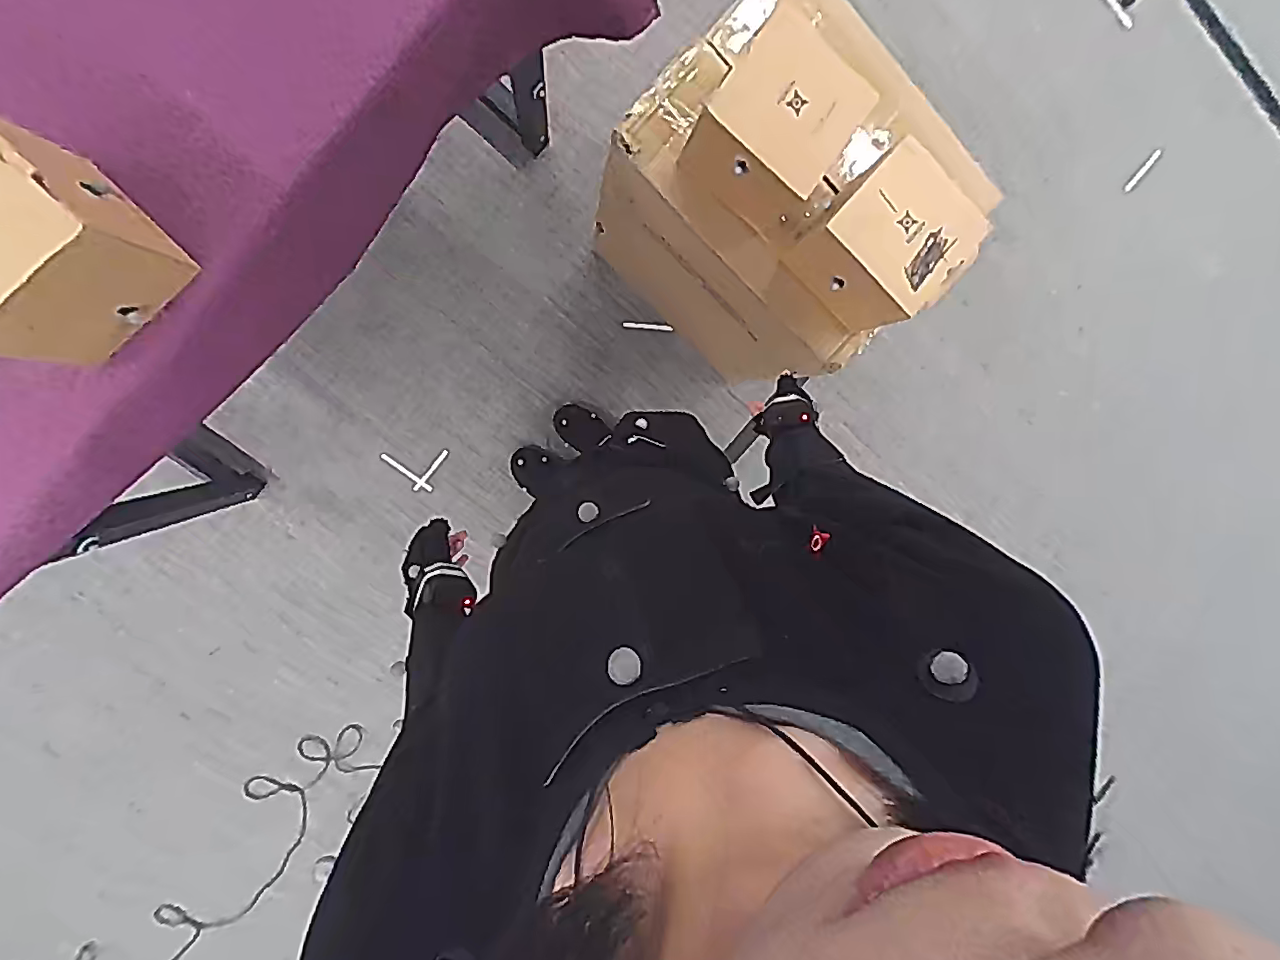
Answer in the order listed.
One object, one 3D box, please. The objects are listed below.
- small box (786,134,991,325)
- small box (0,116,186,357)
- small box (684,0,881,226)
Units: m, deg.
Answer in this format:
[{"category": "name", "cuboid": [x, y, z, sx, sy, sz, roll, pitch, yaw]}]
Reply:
[{"category": "small box", "cuboid": [0.352, -0.348, 0.798, 0.179, 0.176, 0.168, 41, 91, -9]}, {"category": "small box", "cuboid": [-0.641, -0.252, 0.570, 0.179, 0.176, 0.168, -44, 100, -1]}, {"category": "small box", "cuboid": [0.184, -0.492, 0.758, 0.179, 0.176, 0.168, 36, 93, -12]}]
